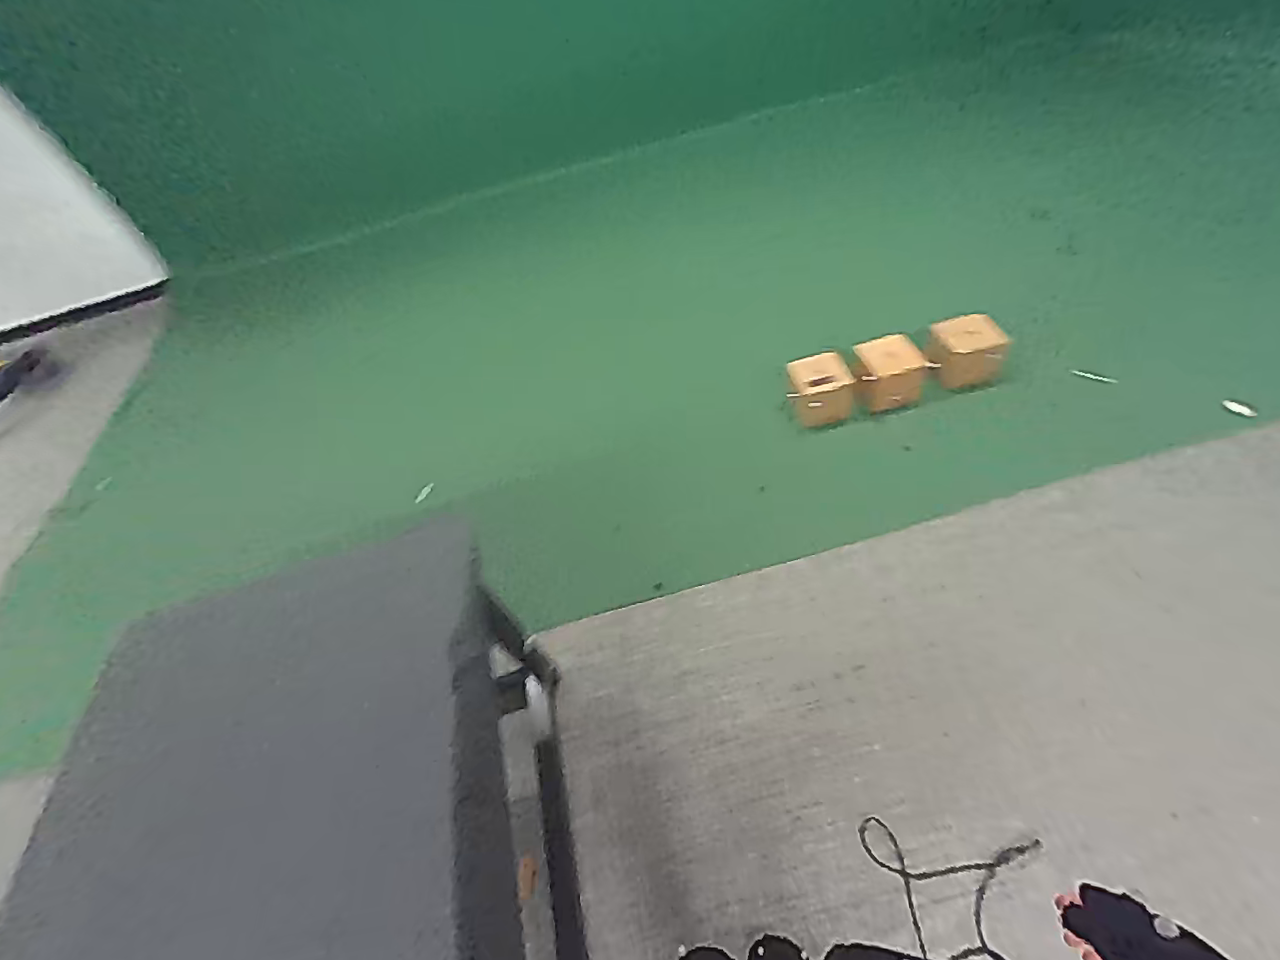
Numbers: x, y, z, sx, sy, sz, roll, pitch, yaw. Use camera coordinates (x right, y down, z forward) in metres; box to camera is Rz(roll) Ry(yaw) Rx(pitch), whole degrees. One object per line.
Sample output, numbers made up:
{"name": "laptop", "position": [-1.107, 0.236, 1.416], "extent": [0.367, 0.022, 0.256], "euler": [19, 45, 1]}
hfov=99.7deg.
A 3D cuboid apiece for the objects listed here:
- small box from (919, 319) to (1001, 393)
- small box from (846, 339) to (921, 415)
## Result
{"name": "small box", "position": [1.114, -0.432, 1.902], "extent": [0.179, 0.176, 0.168], "euler": [-14, 51, 1]}
{"name": "small box", "position": [0.848, -0.361, 1.906], "extent": [0.168, 0.176, 0.179], "euler": [-16, 52, -1]}
